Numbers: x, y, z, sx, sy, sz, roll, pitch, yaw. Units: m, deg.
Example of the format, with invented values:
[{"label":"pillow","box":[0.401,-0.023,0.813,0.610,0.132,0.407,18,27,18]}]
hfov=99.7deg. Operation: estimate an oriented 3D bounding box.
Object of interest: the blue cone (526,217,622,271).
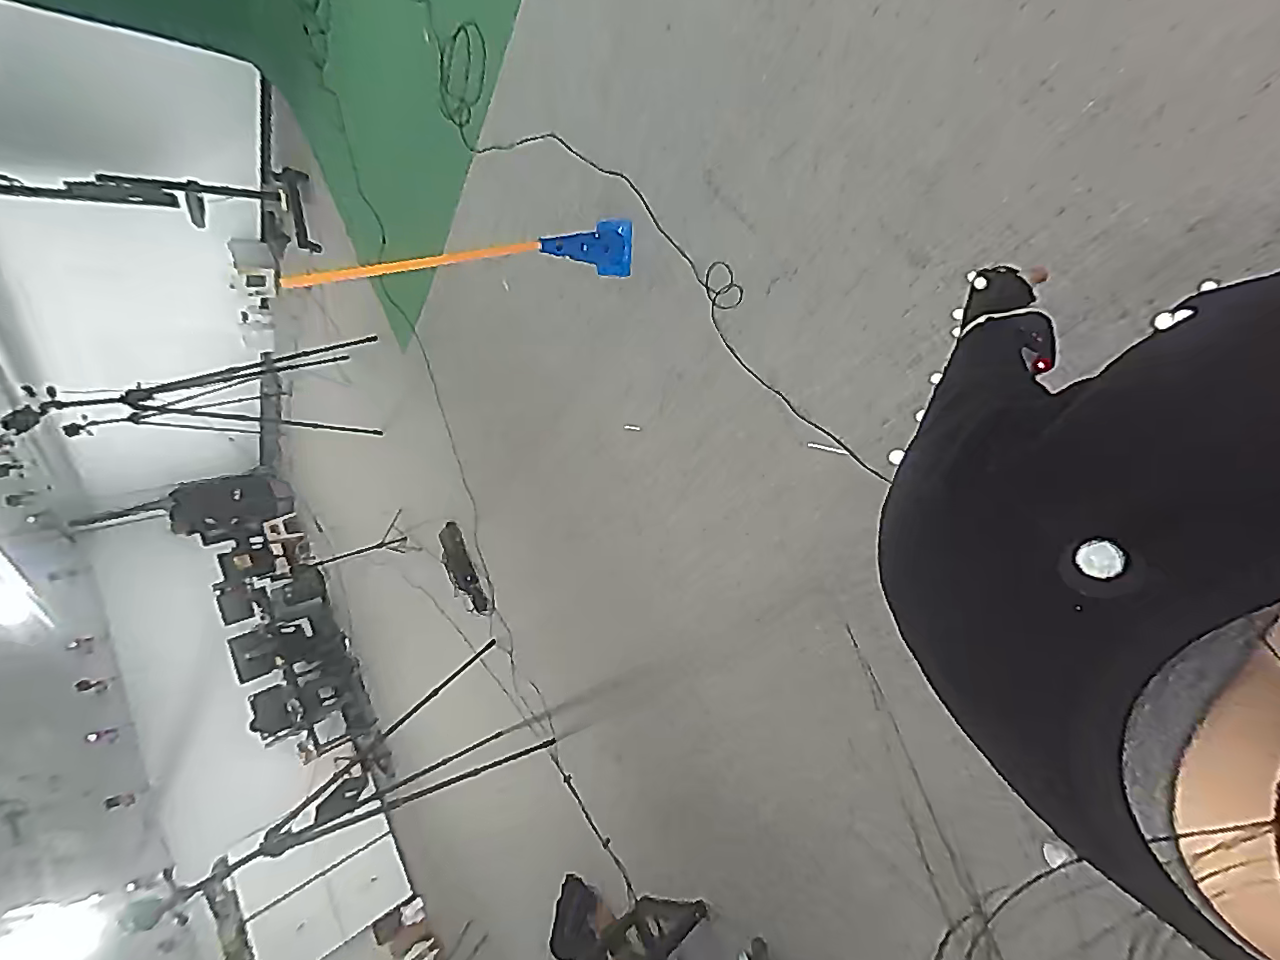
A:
[{"label":"blue cone","box":[-0.249,-0.874,1.991,0.192,0.380,0.193,20,119,40]}]
